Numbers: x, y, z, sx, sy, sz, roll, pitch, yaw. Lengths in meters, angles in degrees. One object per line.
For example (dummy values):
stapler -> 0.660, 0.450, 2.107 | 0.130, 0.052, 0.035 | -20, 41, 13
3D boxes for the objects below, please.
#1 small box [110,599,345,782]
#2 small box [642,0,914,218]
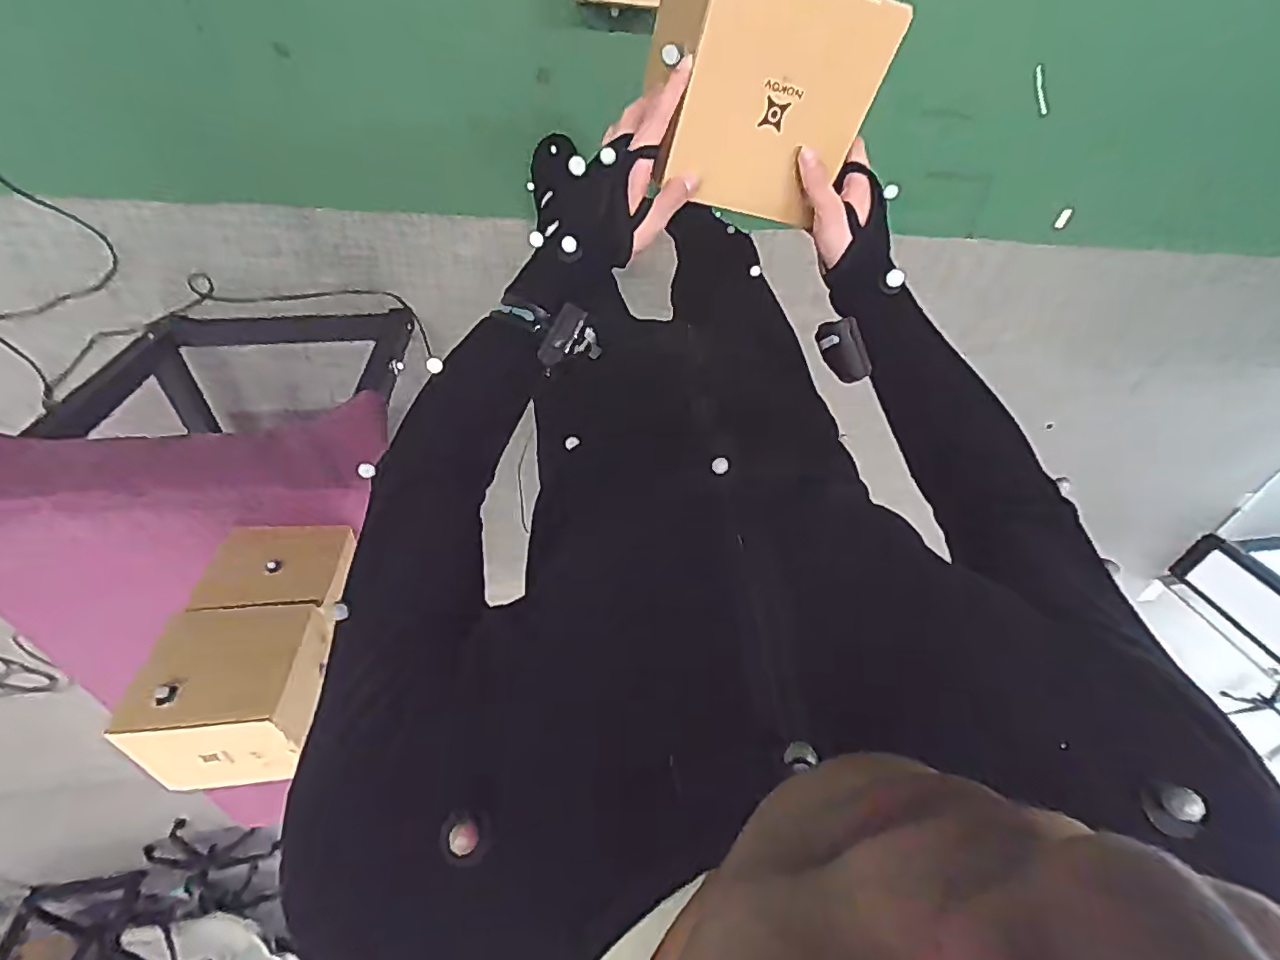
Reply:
small box -> -0.529, 0.278, 0.728 | 0.179, 0.176, 0.168 | -1, 132, -10
small box -> 0.106, -0.383, 0.510 | 0.168, 0.176, 0.179 | 3, 135, -17
